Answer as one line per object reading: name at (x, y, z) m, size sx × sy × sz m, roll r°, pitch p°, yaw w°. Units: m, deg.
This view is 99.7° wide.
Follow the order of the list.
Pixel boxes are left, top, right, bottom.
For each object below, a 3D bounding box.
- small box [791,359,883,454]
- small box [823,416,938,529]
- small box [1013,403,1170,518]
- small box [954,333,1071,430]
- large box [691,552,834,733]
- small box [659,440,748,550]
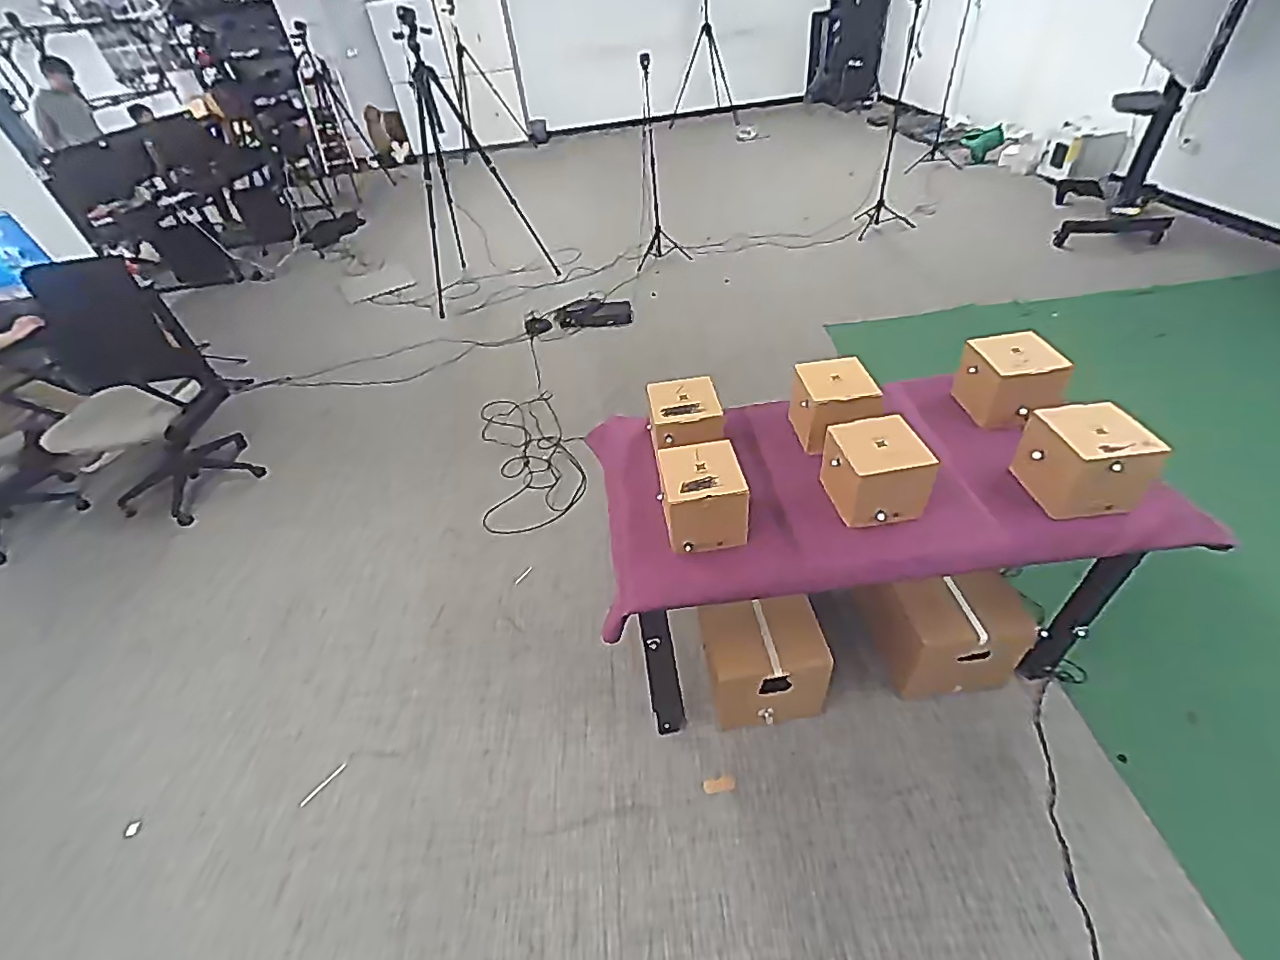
small box at (0.497, -0.189, 1.396) m, size 0.168 × 0.176 × 0.179 m, roll -7°, pitch 43°, yaw 1°
small box at (0.520, -0.017, 1.200) m, size 0.168 × 0.176 × 0.179 m, roll -9°, pitch 41°, yaw 0°
small box at (0.943, -0.041, 1.154) m, size 0.168 × 0.176 × 0.179 m, roll -7°, pitch 39°, yaw 4°
small box at (0.940, -0.253, 1.387) m, size 0.168 × 0.176 × 0.179 m, roll -8°, pitch 43°, yaw 4°
large box at (0.354, 0.491, 1.656) m, size 0.320 × 0.320 × 0.408 m, roll -9°, pitch 41°, yaw -1°
small box at (0.140, 0.040, 1.196) m, size 0.168 × 0.176 × 0.179 m, roll -8°, pitch 40°, yaw -1°
